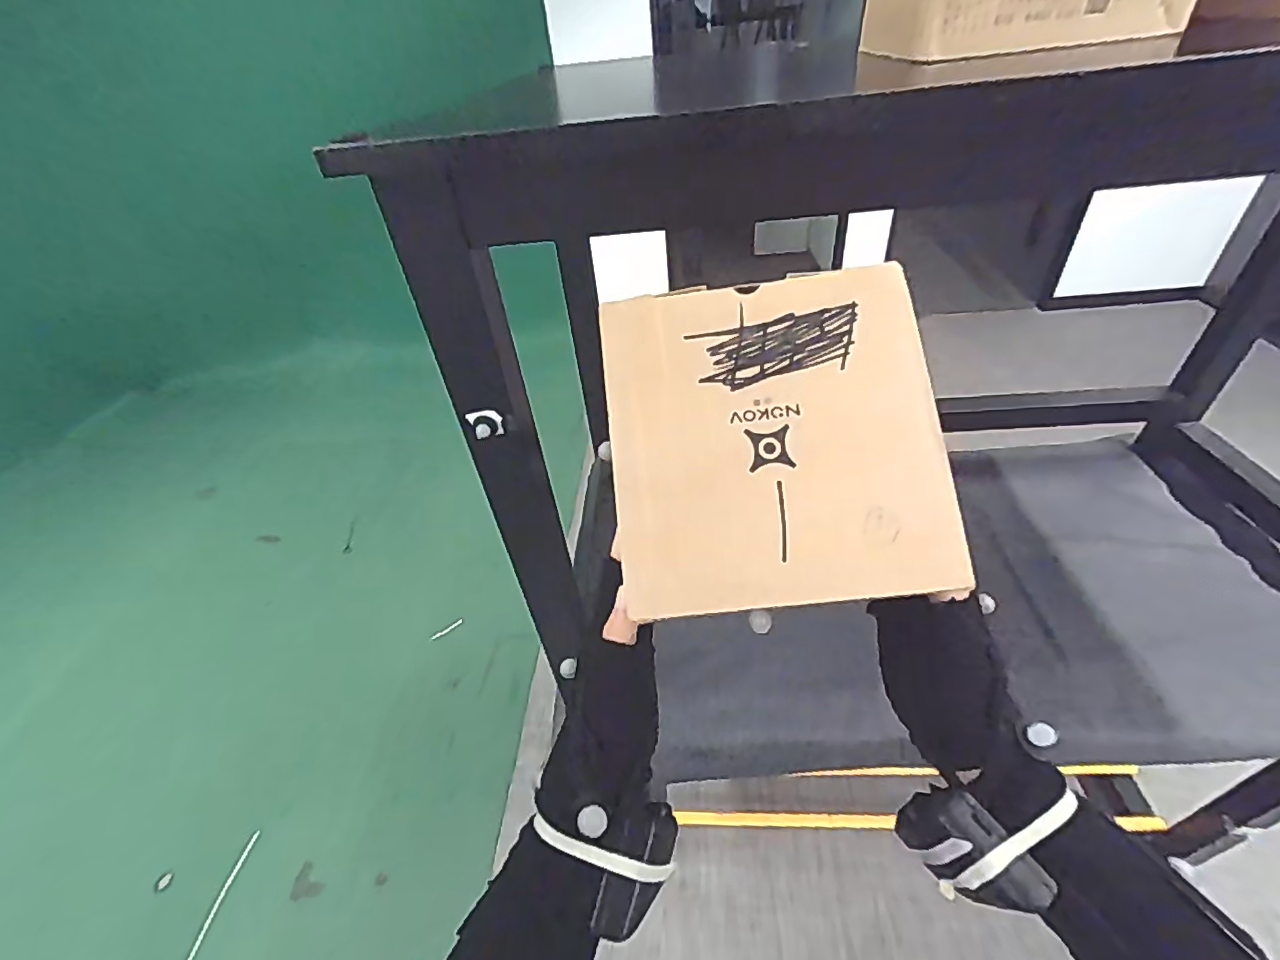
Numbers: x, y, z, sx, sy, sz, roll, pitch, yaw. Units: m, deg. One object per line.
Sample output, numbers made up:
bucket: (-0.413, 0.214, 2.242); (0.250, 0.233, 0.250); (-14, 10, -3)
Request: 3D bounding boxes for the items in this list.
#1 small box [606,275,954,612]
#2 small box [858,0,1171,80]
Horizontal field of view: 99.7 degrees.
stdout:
small box: (0.074, -0.006, 0.365); (0.168, 0.176, 0.179); (-6, 77, 5)
small box: (0.271, -0.401, 0.389); (0.168, 0.176, 0.179); (-2, 40, 6)
